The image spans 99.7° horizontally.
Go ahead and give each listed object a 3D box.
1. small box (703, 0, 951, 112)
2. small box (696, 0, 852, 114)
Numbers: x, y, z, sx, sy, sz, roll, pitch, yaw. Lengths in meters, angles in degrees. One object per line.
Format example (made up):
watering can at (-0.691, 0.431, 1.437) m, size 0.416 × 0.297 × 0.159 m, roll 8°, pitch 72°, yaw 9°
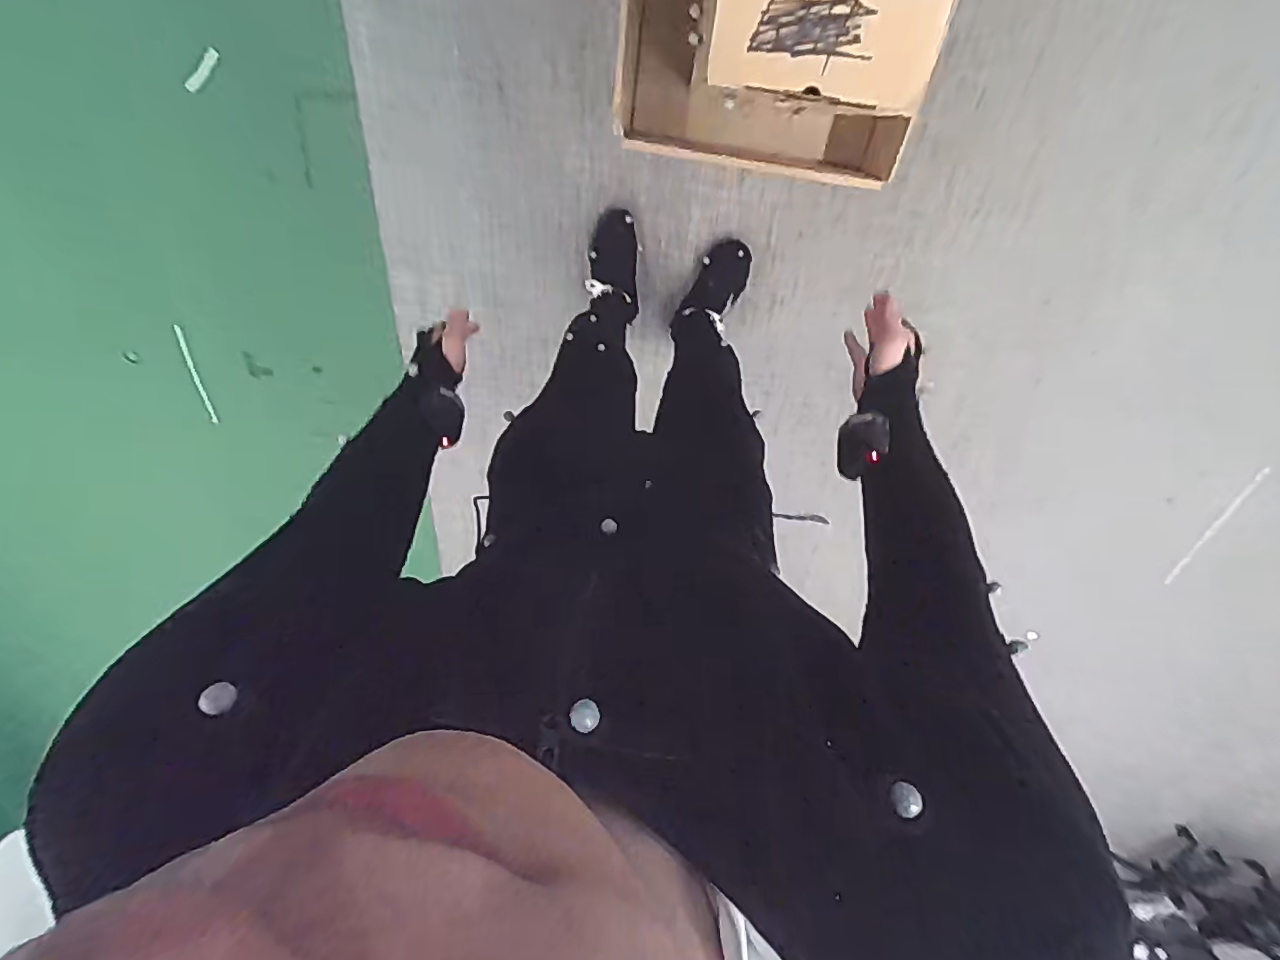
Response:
small box at (0.146, -0.411, 0.431) m, size 0.168 × 0.176 × 0.179 m, roll 8°, pitch 124°, yaw -2°
small box at (0.157, -0.503, 0.566) m, size 0.168 × 0.176 × 0.179 m, roll 9°, pitch 125°, yaw -2°
